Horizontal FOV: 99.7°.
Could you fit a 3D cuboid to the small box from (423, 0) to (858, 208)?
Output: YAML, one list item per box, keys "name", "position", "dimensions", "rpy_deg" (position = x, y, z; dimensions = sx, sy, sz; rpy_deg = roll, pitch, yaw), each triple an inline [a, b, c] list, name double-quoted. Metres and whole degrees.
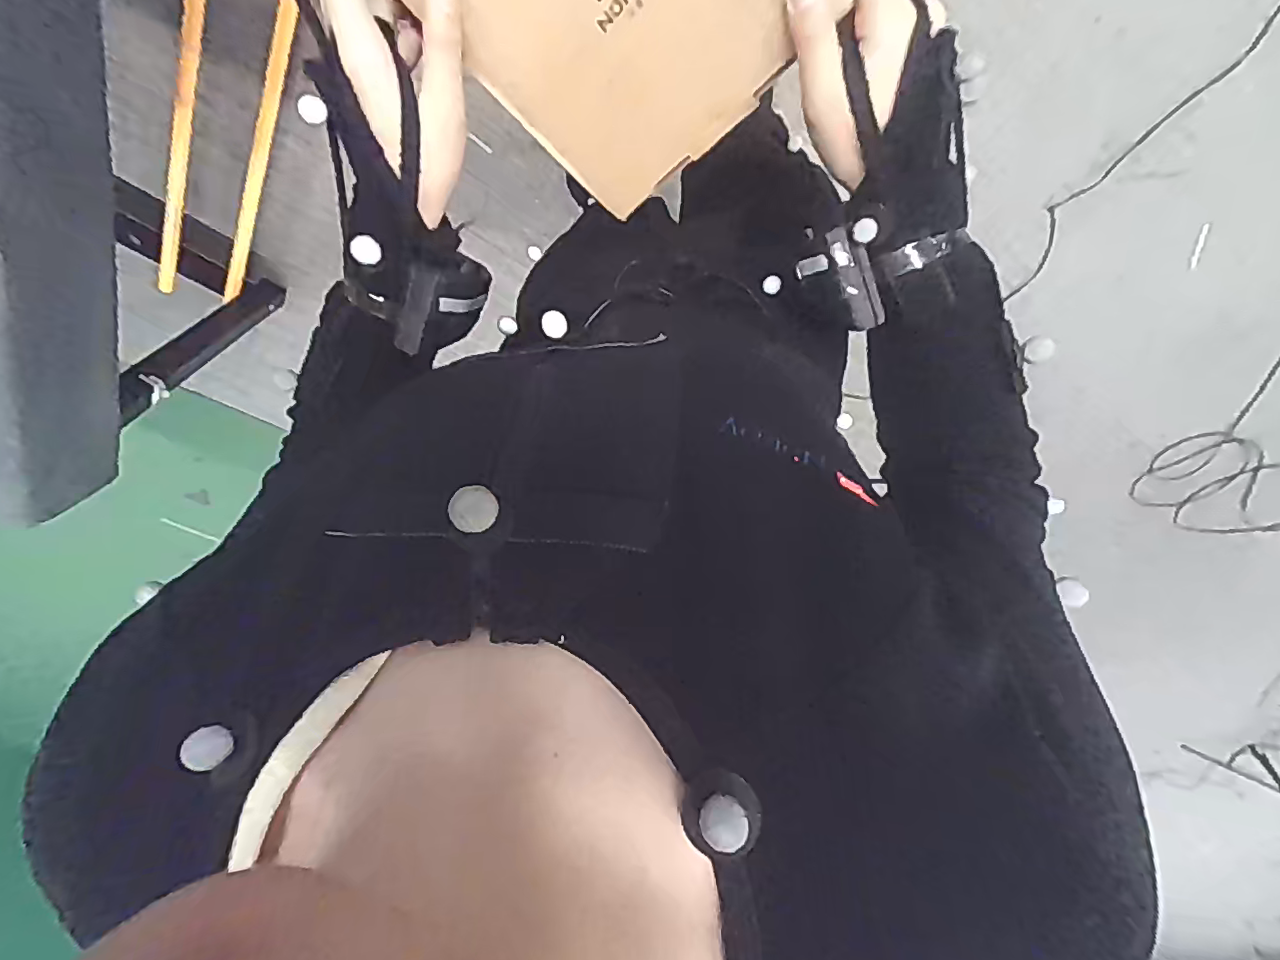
- name: "small box"
  position: [-0.002, -0.307, 0.300]
  dimensions: [0.168, 0.176, 0.179]
  rpy_deg: [-25, 134, 37]
